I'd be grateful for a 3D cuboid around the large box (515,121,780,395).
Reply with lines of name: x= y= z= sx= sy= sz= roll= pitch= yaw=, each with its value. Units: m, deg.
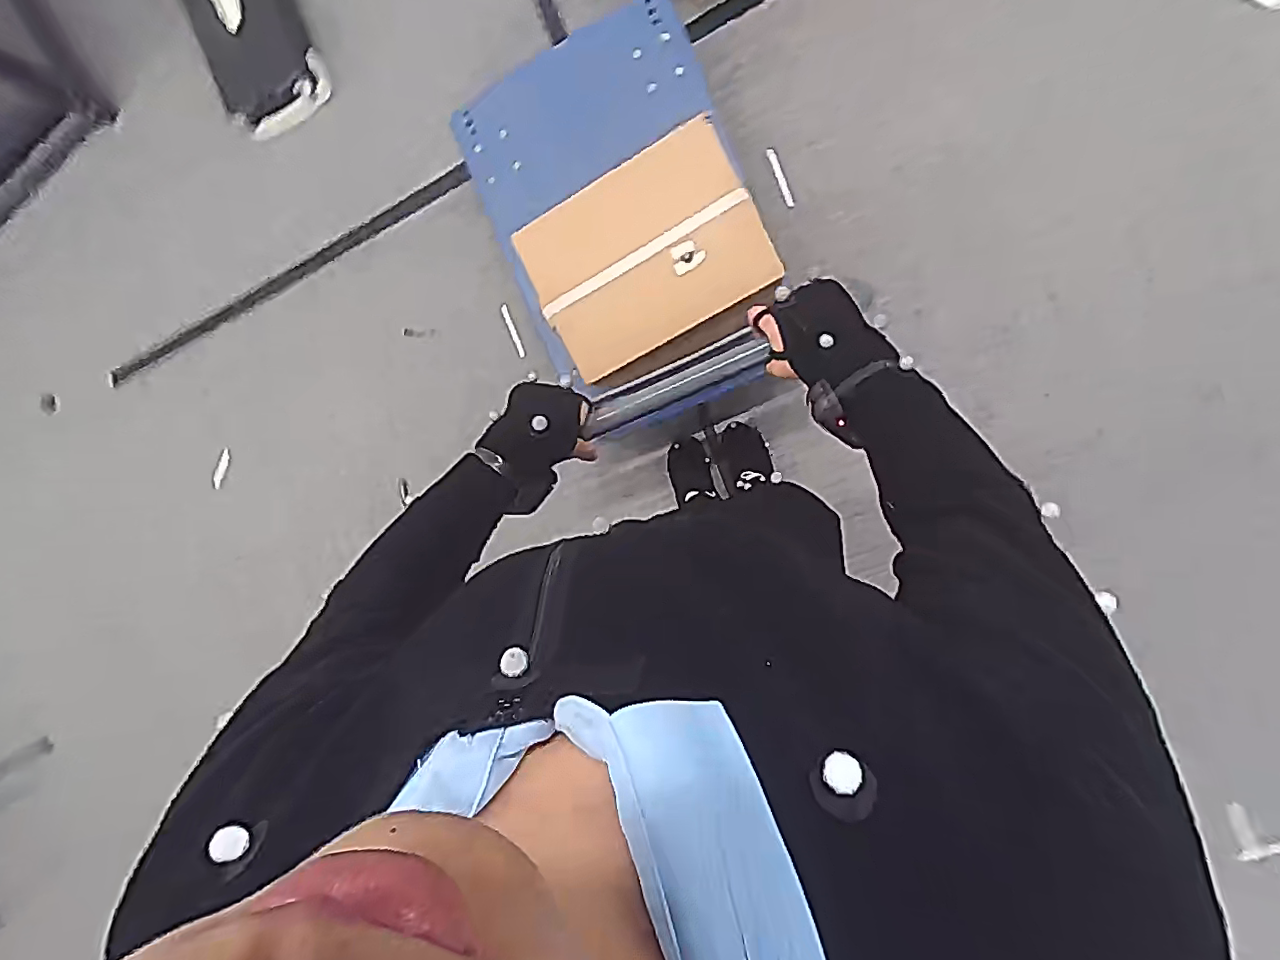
large box: x=0.026 y=-0.411 z=1.119 sx=0.408 sy=0.320 sz=0.320 roll=-28 pitch=92 yaw=10
